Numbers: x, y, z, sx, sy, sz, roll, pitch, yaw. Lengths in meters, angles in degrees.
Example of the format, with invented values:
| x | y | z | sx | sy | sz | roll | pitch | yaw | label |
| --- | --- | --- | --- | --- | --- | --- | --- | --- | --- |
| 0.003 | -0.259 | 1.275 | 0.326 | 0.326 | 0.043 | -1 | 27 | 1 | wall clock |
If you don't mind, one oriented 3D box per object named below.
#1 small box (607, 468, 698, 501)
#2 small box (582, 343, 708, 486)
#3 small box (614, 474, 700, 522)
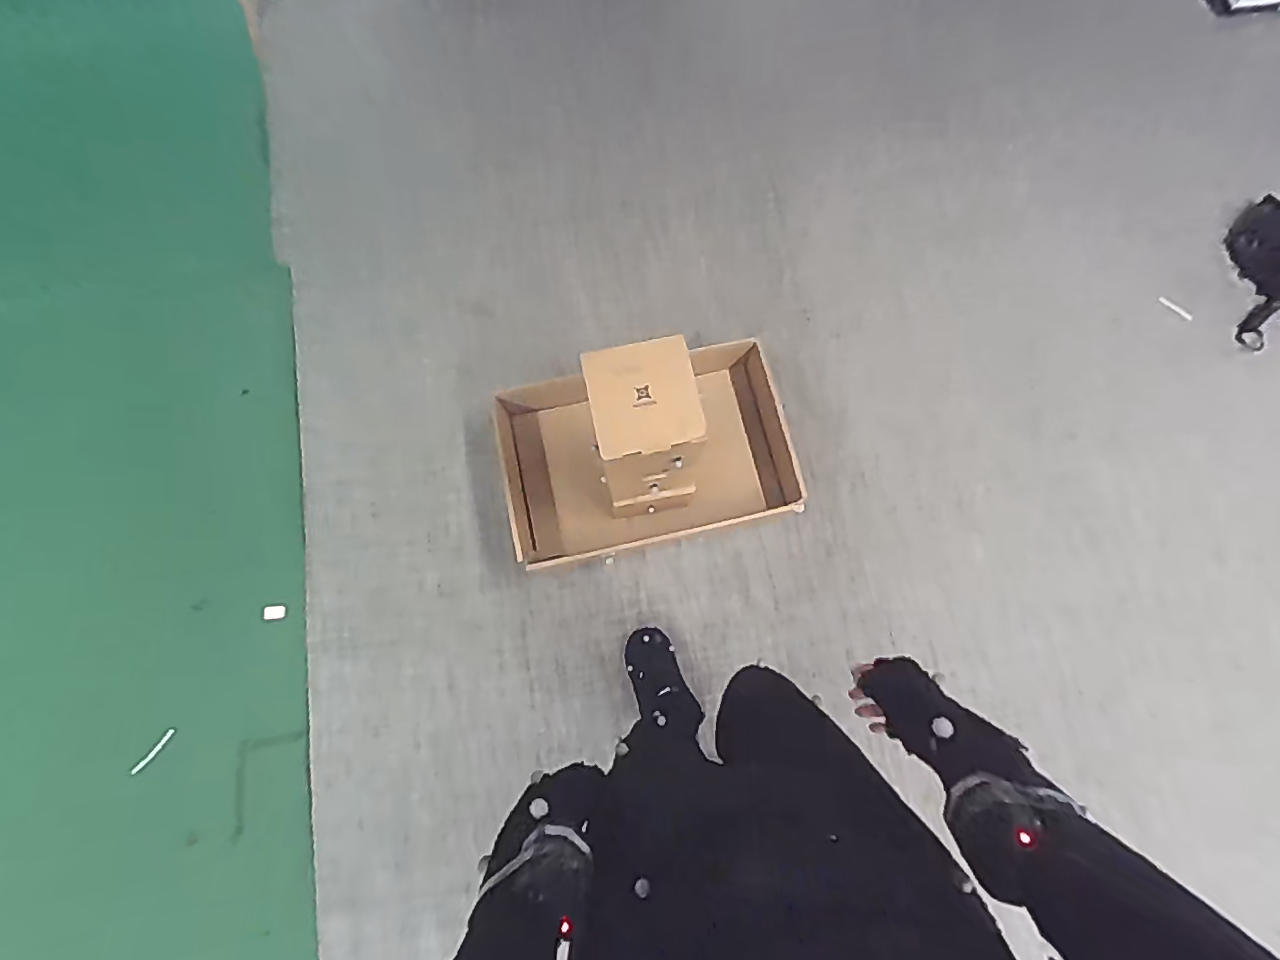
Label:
| x | y | z | sx | sy | sz | roll | pitch | yaw | label |
| --- | --- | --- | --- | --- | --- | --- | --- | --- | --- |
| 0.010 | -0.063 | 1.052 | 0.168 | 0.176 | 0.179 | -12 | 78 | -2 | small box |
| 0.007 | -0.097 | 0.893 | 0.168 | 0.176 | 0.179 | -12 | 76 | -3 | small box |
| 0.022 | -0.011 | 1.207 | 0.179 | 0.176 | 0.168 | -13 | 77 | -3 | small box |
